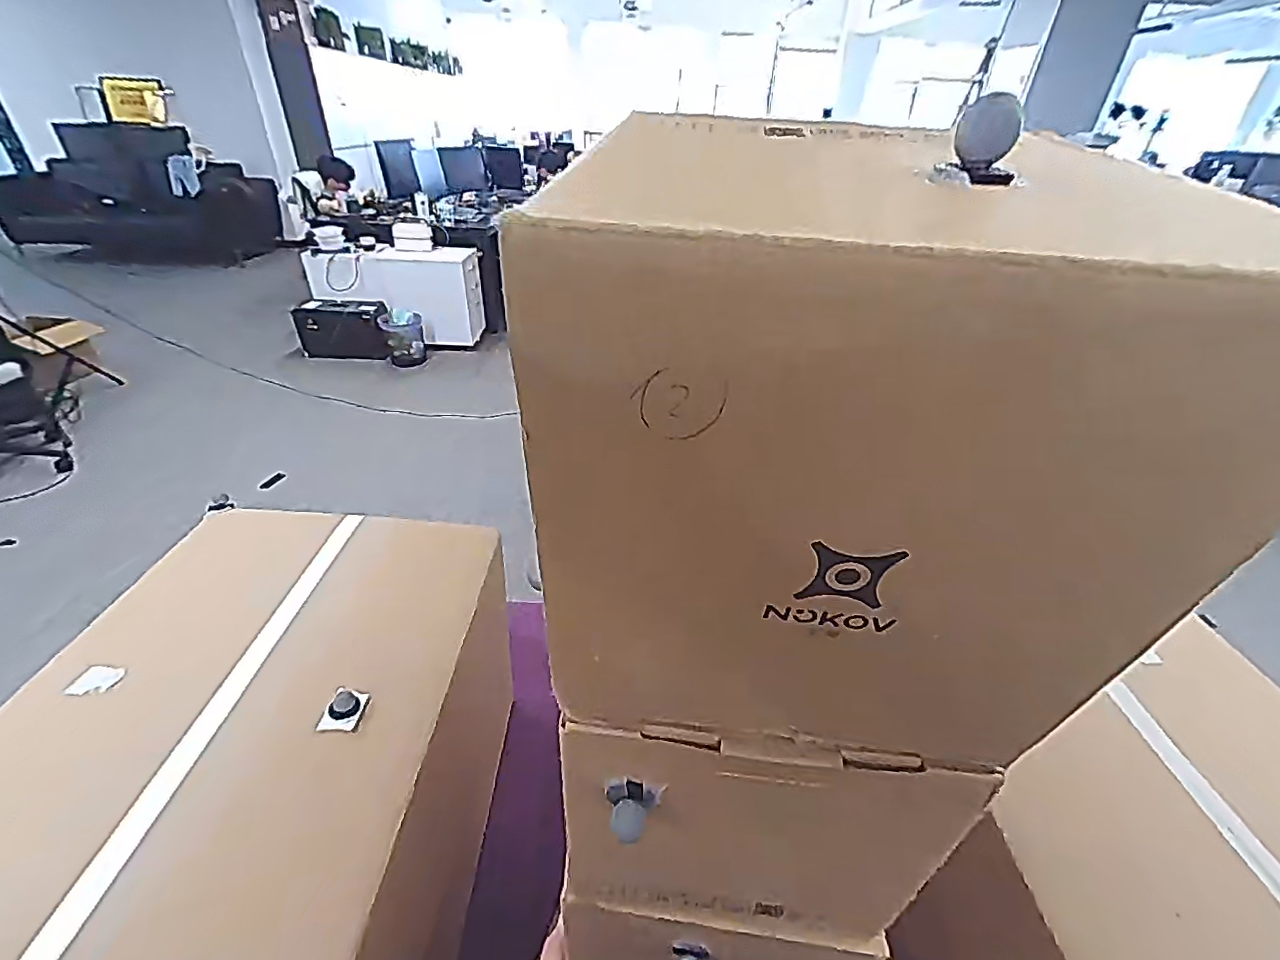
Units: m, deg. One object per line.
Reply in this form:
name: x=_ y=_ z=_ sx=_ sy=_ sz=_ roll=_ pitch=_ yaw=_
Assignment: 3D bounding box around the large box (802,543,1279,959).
large box: x=0.384 y=0.310 z=0.526 sx=0.320 sy=0.320 sz=0.408 roll=2 pitch=32 yaw=-2
